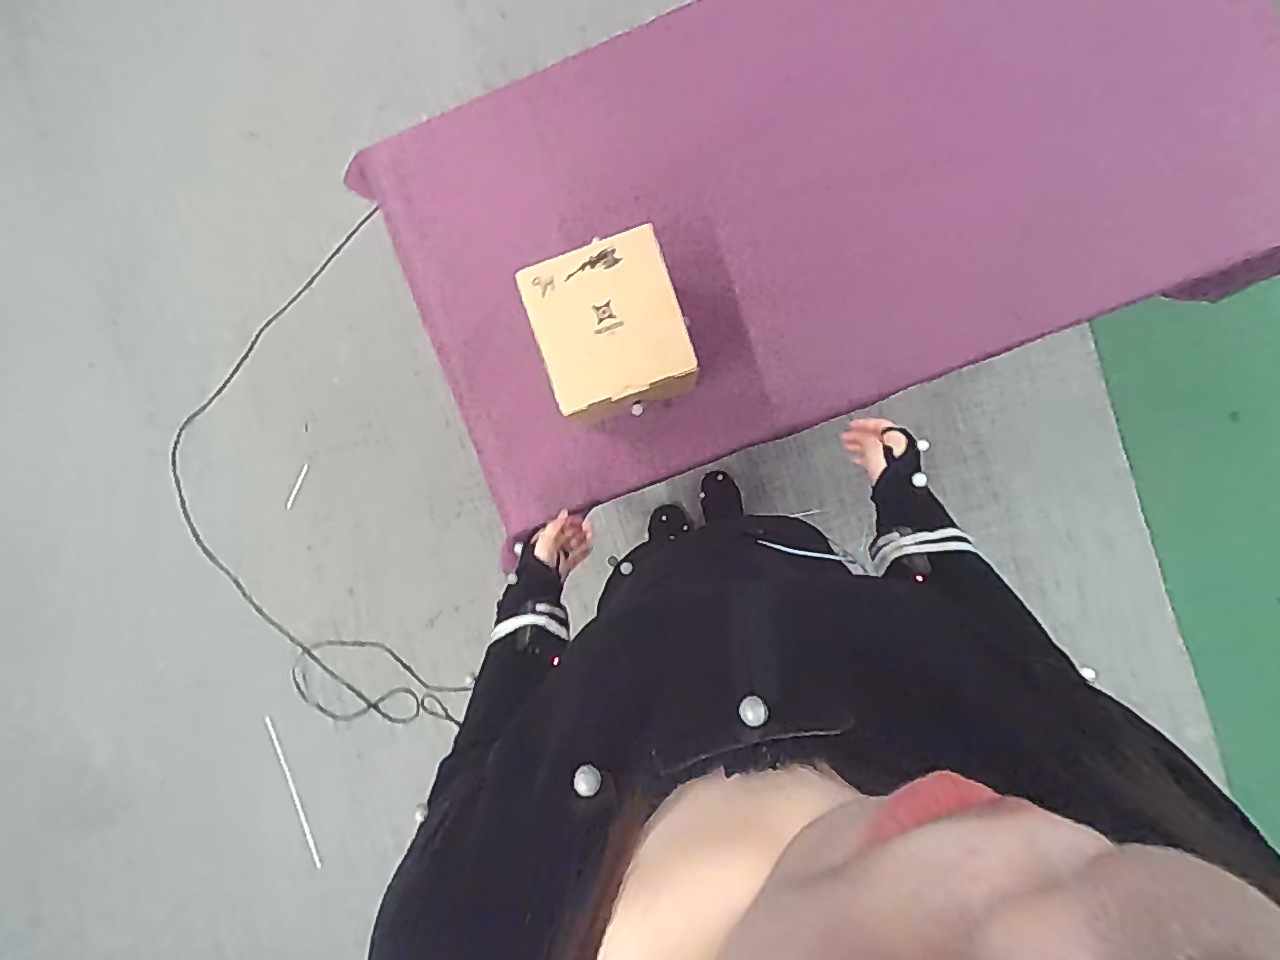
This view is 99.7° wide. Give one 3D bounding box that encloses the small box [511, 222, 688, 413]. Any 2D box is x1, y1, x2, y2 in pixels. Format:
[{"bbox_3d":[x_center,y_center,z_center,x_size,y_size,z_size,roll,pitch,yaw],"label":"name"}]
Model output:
[{"bbox_3d":[-0.041,-0.189,0.690,0.168,0.176,0.179,-18,92,3],"label":"small box"}]
